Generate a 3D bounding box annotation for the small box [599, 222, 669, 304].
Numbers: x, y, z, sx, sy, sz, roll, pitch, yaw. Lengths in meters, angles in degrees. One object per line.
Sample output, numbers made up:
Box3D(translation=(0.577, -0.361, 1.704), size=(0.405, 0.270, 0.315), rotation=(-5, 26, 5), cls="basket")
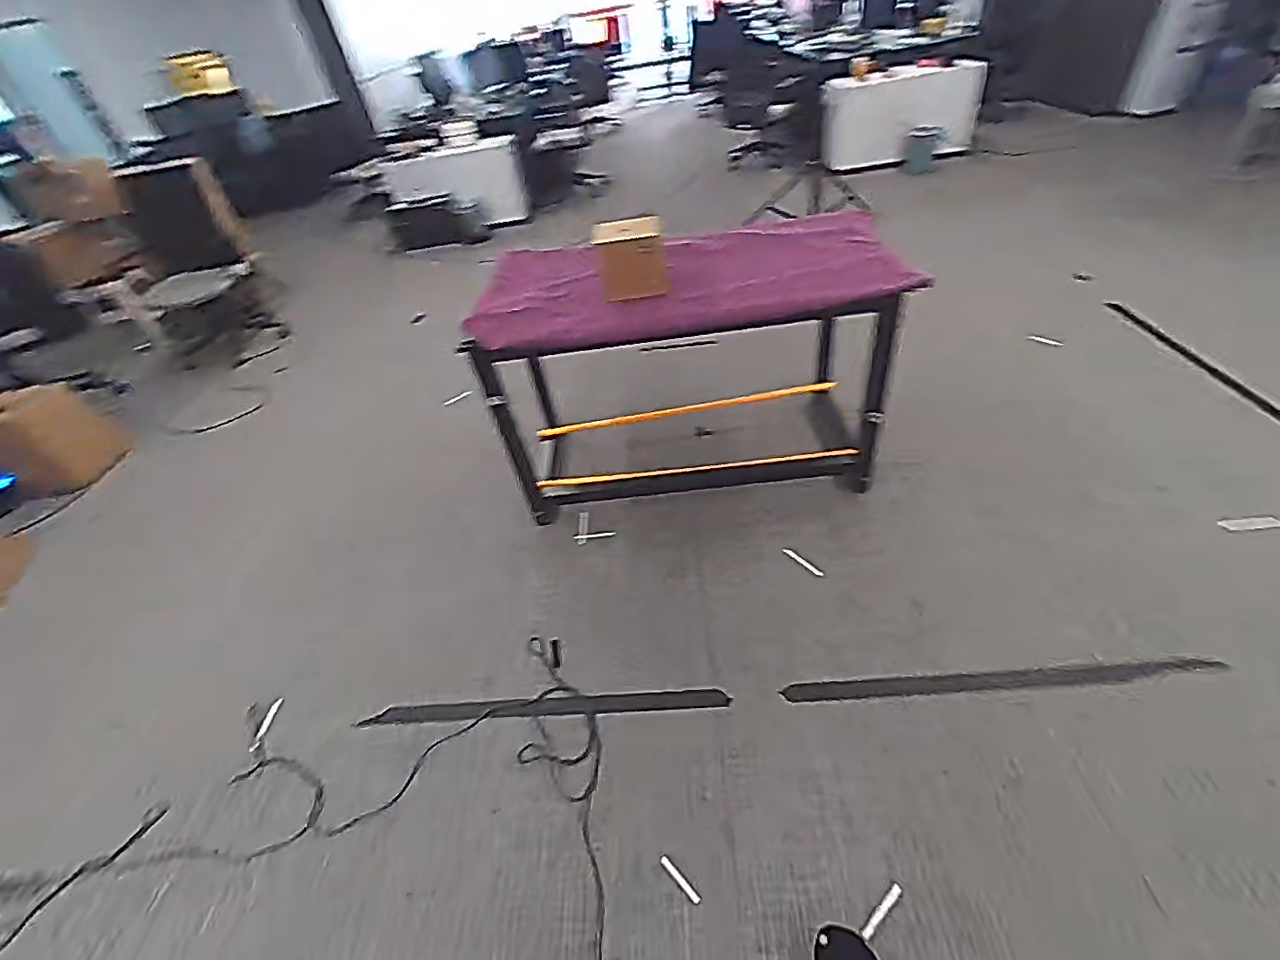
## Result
Box3D(translation=(-0.014, -0.622, 1.558), size=(0.179, 0.176, 0.168), rotation=(-5, 42, 5), cls="small box")
